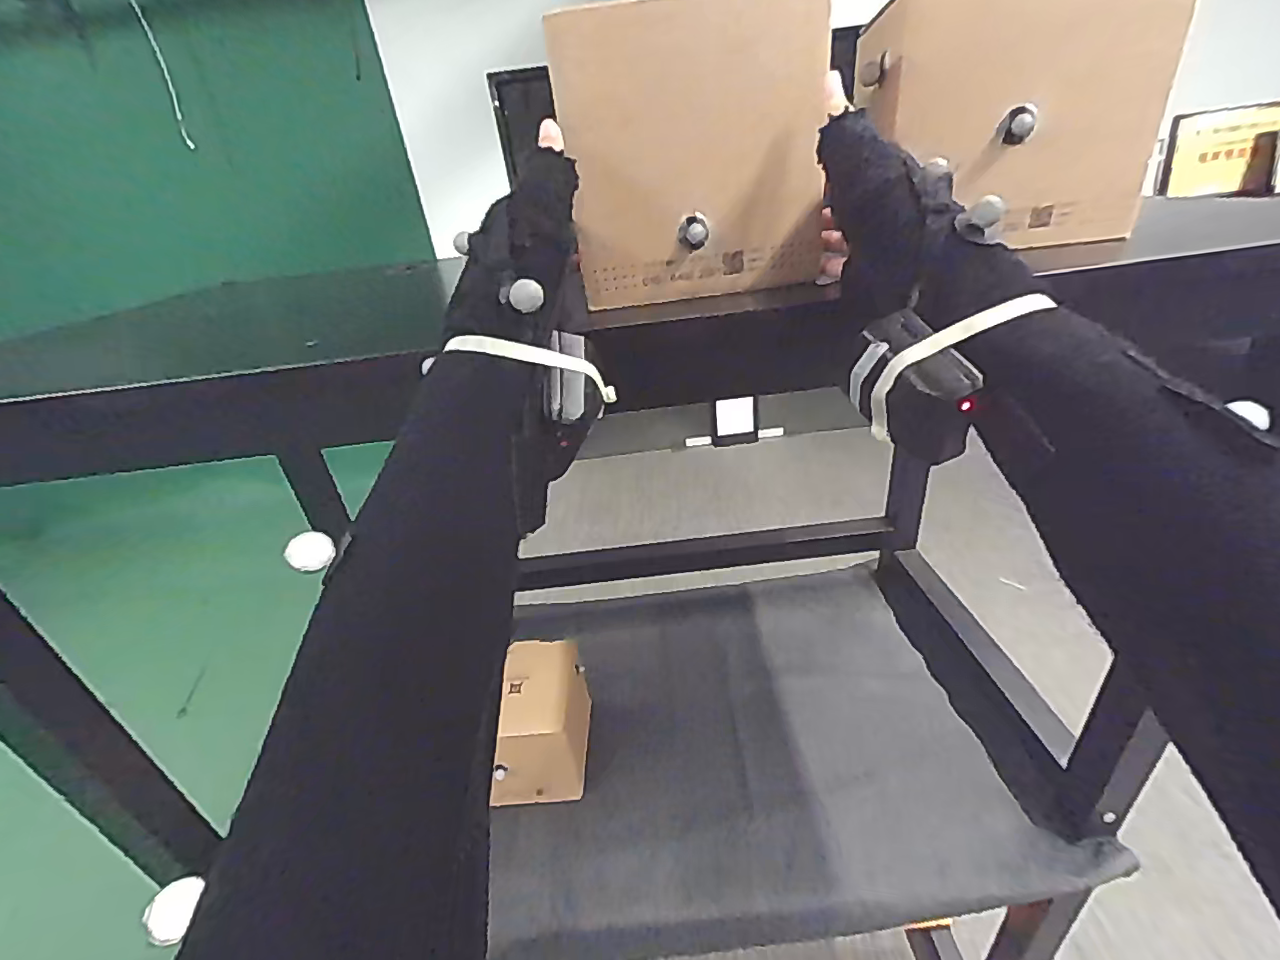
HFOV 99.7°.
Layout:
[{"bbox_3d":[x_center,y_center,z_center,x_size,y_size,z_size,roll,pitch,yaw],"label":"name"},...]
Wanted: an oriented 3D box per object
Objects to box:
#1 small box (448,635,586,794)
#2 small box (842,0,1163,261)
[{"bbox_3d":[-0.183,0.380,0.871,0.168,0.176,0.179,-6,28,2],"label":"small box"},{"bbox_3d":[0.267,-0.281,0.442,0.168,0.176,0.179,-1,29,11],"label":"small box"}]
